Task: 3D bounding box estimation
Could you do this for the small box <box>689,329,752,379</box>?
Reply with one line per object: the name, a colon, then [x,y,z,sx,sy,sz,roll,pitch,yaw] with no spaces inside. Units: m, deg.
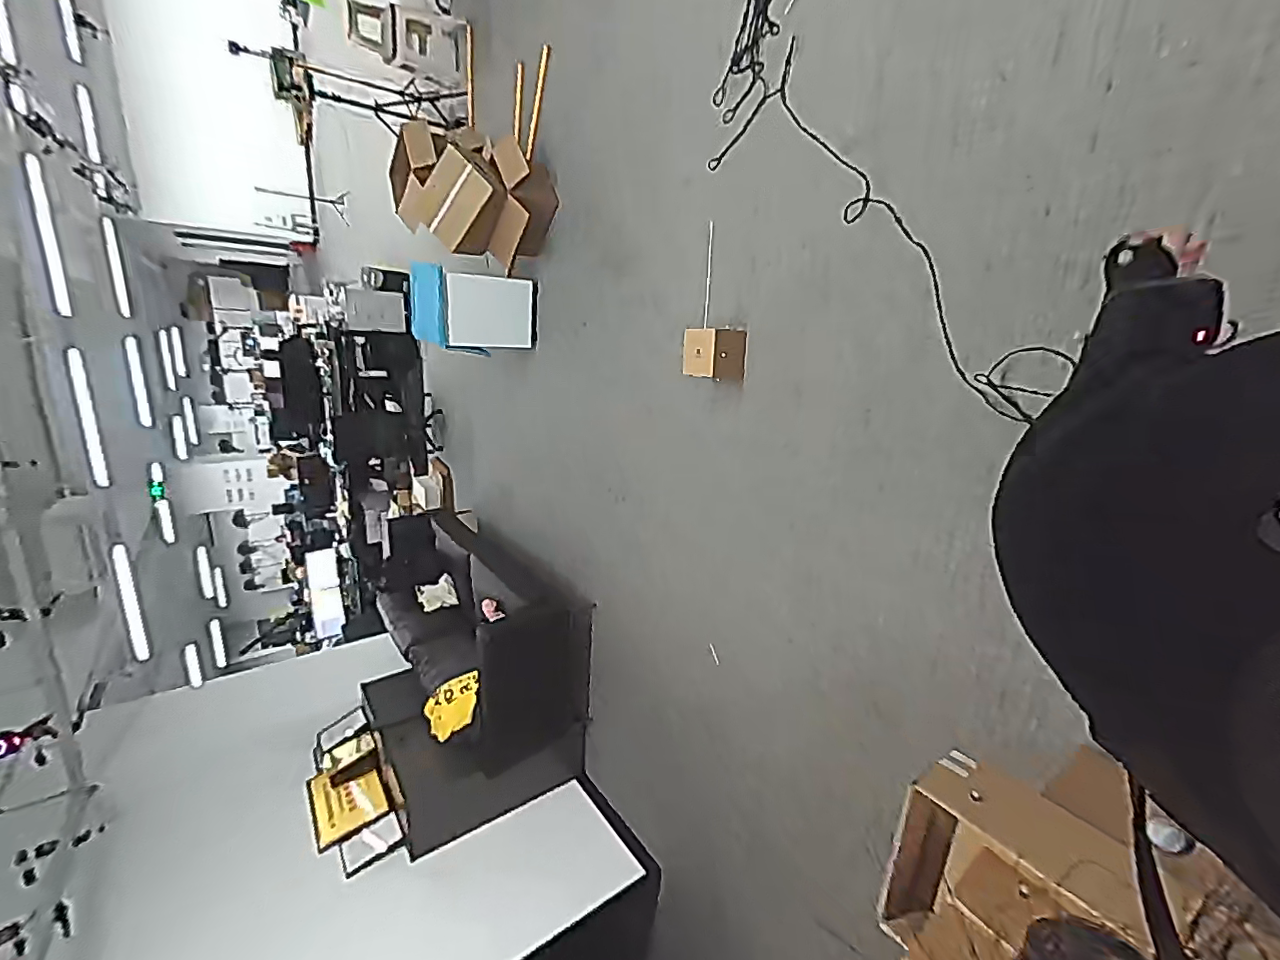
small box: [0.305,-0.479,2.045,0.168,0.176,0.179,21,113,51]
